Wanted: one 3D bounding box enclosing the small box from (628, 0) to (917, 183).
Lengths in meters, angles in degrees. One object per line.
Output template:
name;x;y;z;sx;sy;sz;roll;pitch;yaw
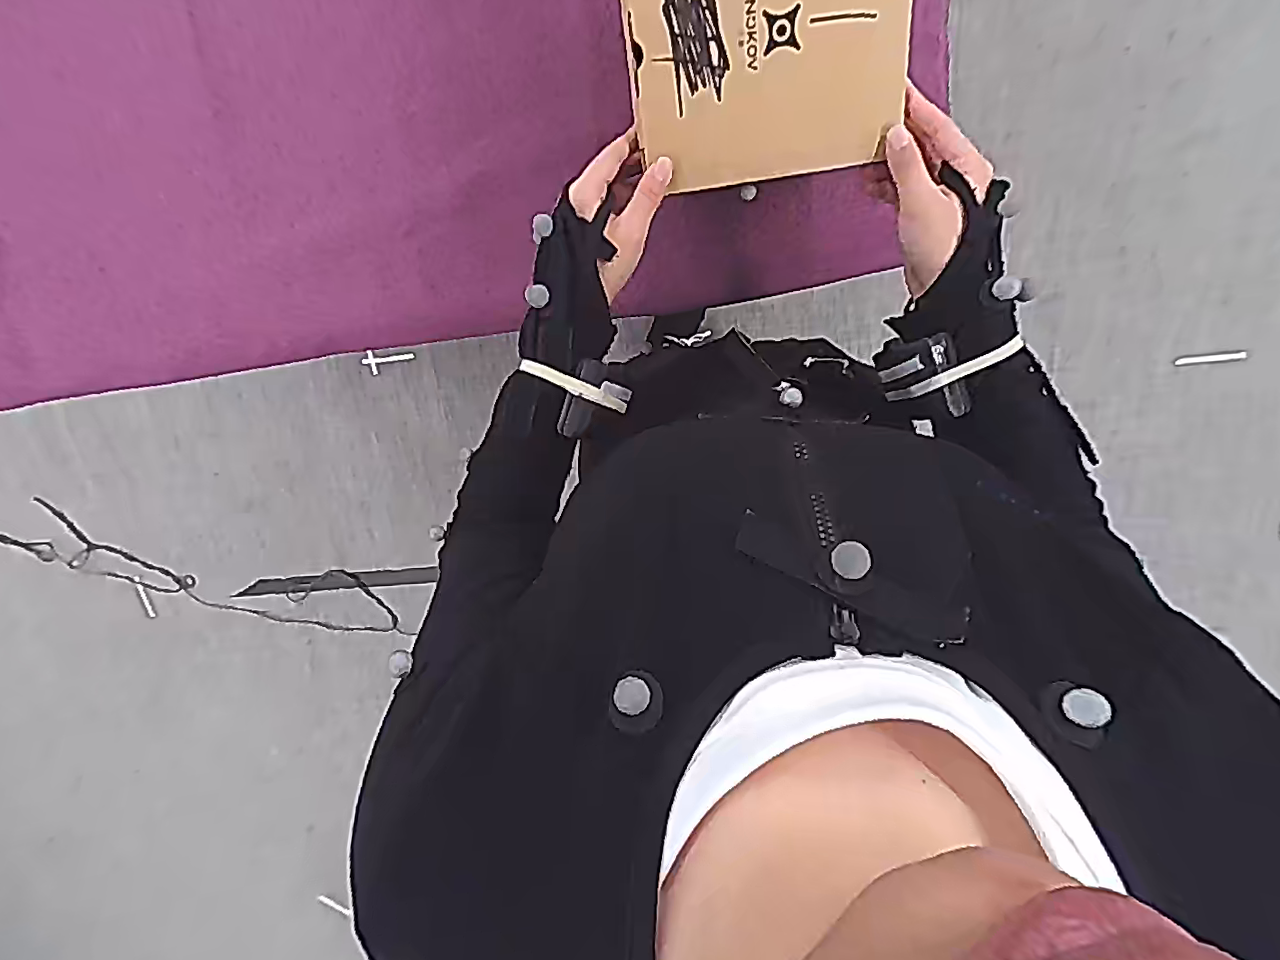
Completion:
small box;0.090;-0.326;0.406;0.179;0.176;0.168;-4;118;9
